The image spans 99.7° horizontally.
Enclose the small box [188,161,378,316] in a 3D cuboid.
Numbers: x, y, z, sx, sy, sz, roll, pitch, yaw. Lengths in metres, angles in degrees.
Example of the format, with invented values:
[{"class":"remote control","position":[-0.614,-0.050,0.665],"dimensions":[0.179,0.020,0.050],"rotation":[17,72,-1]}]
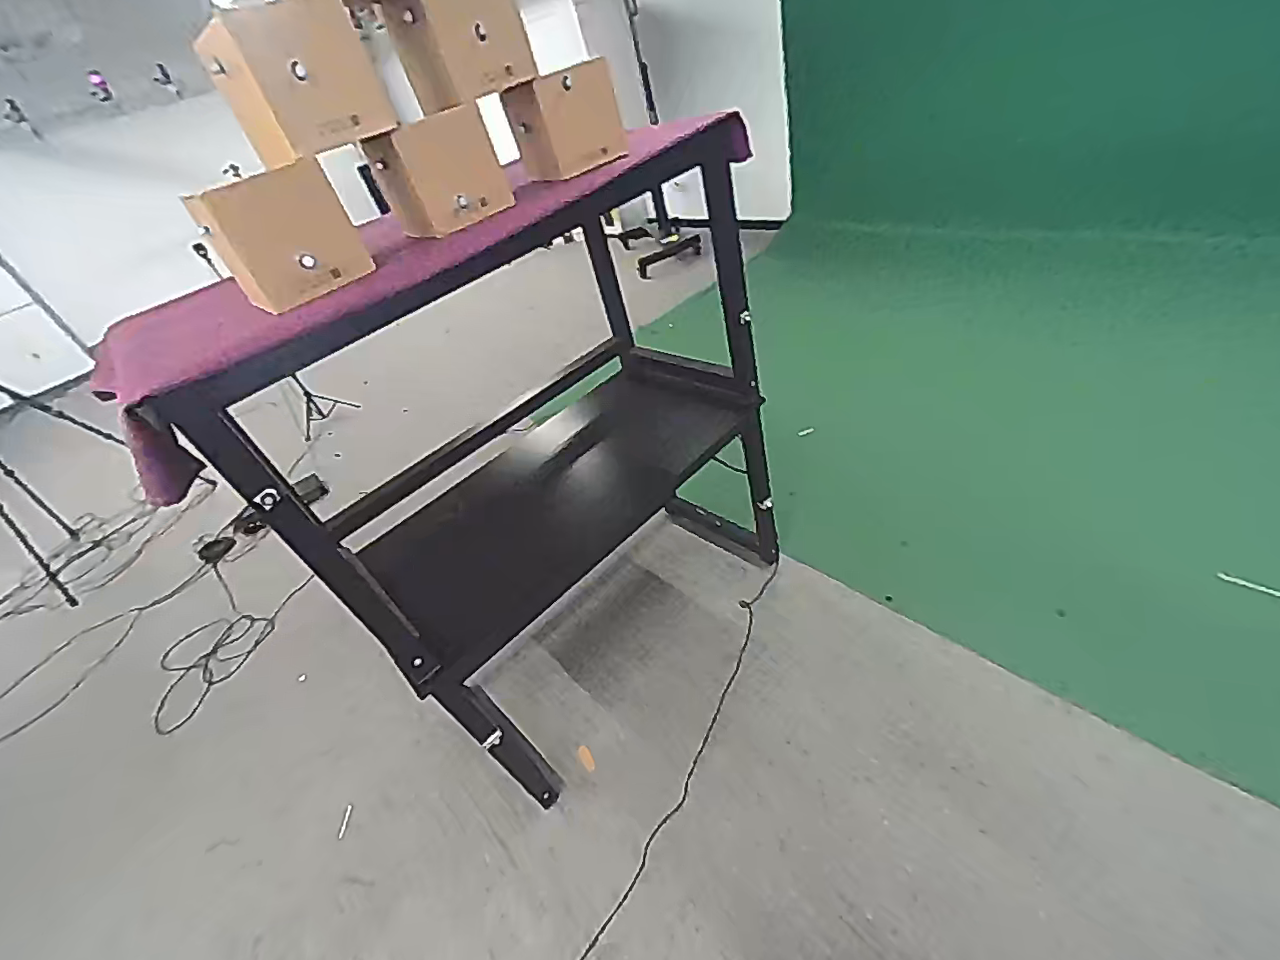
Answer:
[{"class":"small box","position":[-0.546,-0.371,0.838],"dimensions":[0.168,0.176,0.179],"rotation":[-40,43,-26]}]

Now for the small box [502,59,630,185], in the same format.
[{"class":"small box","position":[-0.146,-0.712,1.093],"dimensions":[0.168,0.176,0.179],"rotation":[-35,39,-18]}]

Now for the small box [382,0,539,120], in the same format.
[{"class":"small box","position":[-0.304,-0.749,0.935],"dimensions":[0.168,0.176,0.179],"rotation":[-38,41,-23]}]

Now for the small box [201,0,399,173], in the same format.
[{"class":"small box","position":[-0.497,-0.575,0.806],"dimensions":[0.179,0.176,0.168],"rotation":[22,52,41]}]

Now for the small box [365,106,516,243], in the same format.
[{"class":"small box","position":[-0.356,-0.543,0.974],"dimensions":[0.168,0.176,0.179],"rotation":[-38,42,-22]}]
